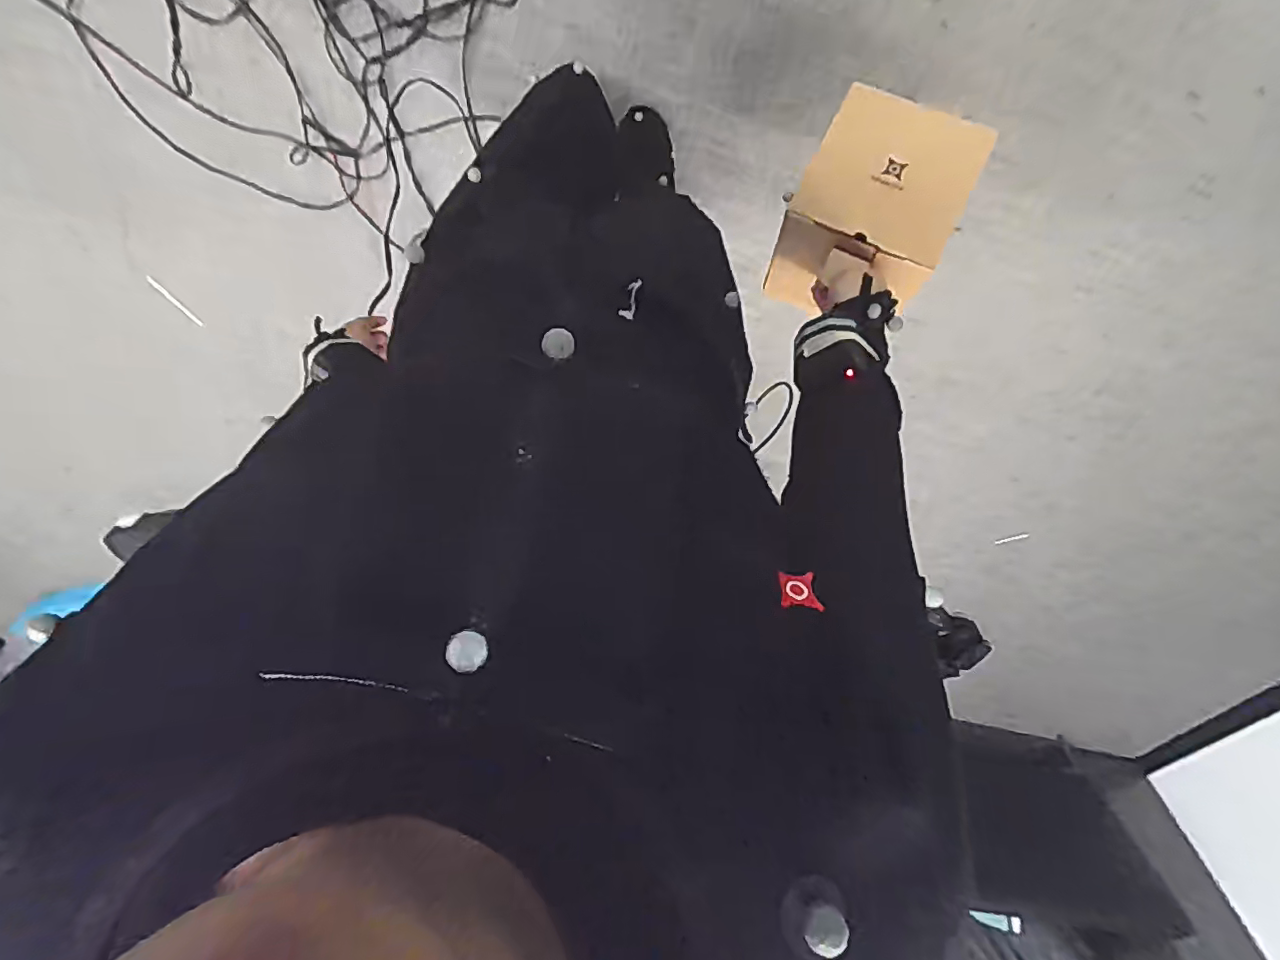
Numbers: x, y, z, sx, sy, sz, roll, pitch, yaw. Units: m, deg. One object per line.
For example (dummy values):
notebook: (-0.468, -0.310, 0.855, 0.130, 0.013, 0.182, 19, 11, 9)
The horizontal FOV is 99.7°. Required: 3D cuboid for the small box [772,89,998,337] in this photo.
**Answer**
small box: (0.277, -0.307, 0.654, 0.168, 0.176, 0.179, 26, 84, 7)
